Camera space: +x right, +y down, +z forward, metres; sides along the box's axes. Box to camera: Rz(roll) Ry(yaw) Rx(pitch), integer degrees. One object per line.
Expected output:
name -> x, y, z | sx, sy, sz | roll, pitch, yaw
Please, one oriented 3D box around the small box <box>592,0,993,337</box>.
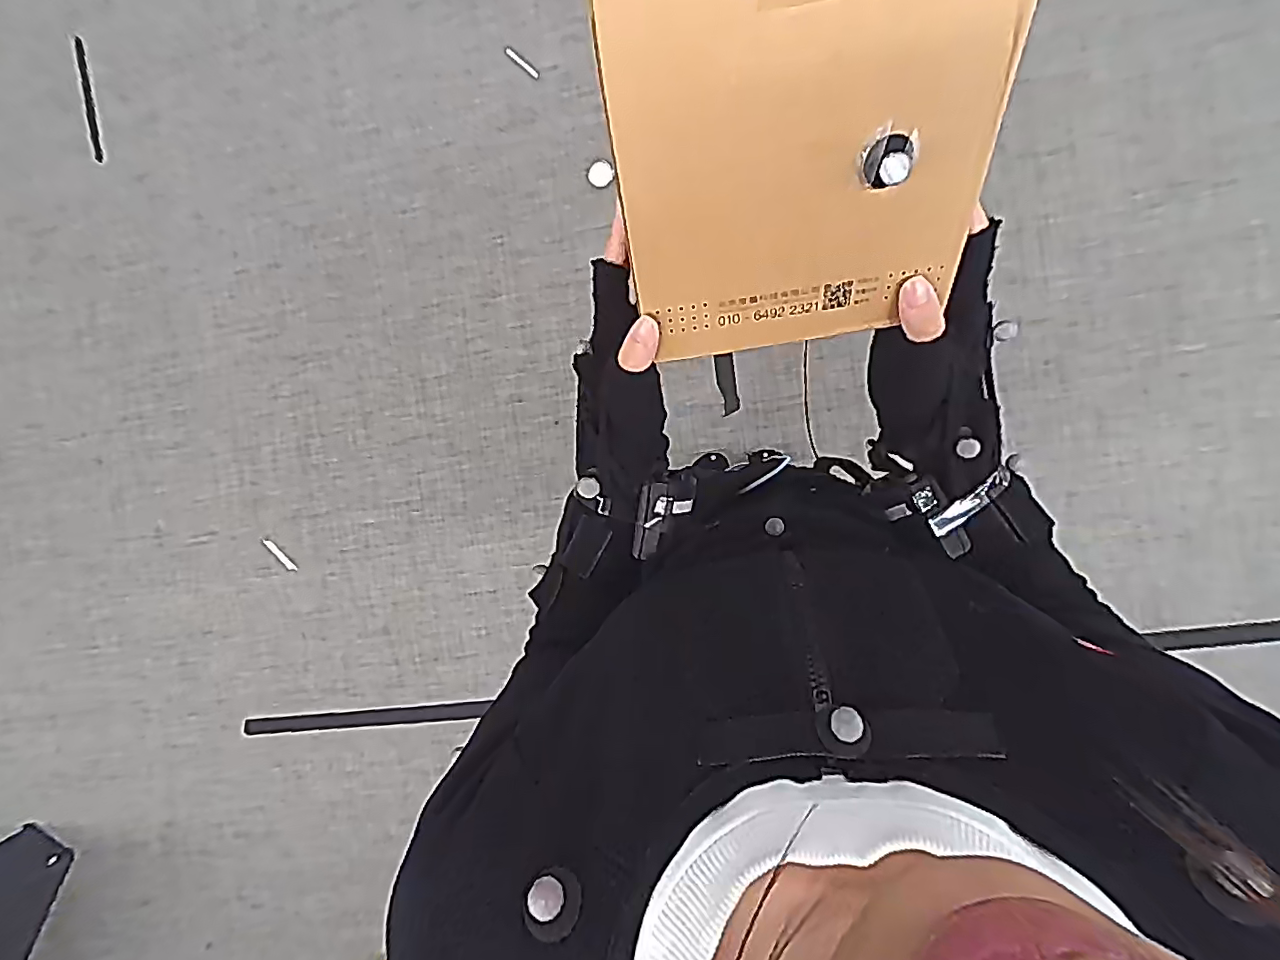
small box -> 0.071, -0.199, 0.318 | 0.168, 0.176, 0.179 | -7, 47, 5
